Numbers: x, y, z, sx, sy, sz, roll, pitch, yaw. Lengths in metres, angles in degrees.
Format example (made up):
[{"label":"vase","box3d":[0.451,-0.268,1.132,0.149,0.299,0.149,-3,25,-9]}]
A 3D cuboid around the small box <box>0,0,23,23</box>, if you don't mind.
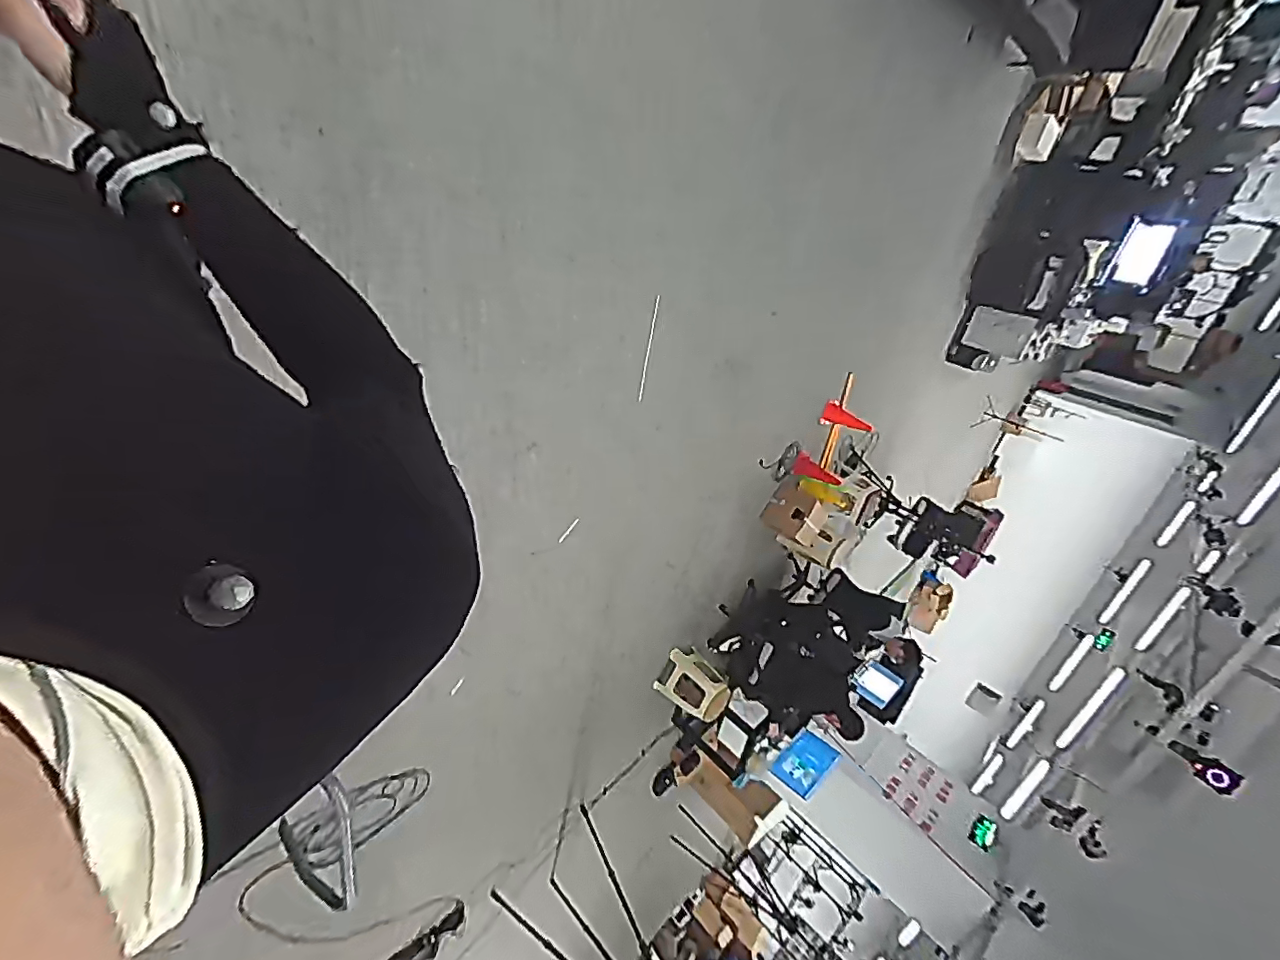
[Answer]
[{"label":"small box","box3d":[-0.536,-0.436,0.349,0.168,0.176,0.179,-12,122,-46]}]
